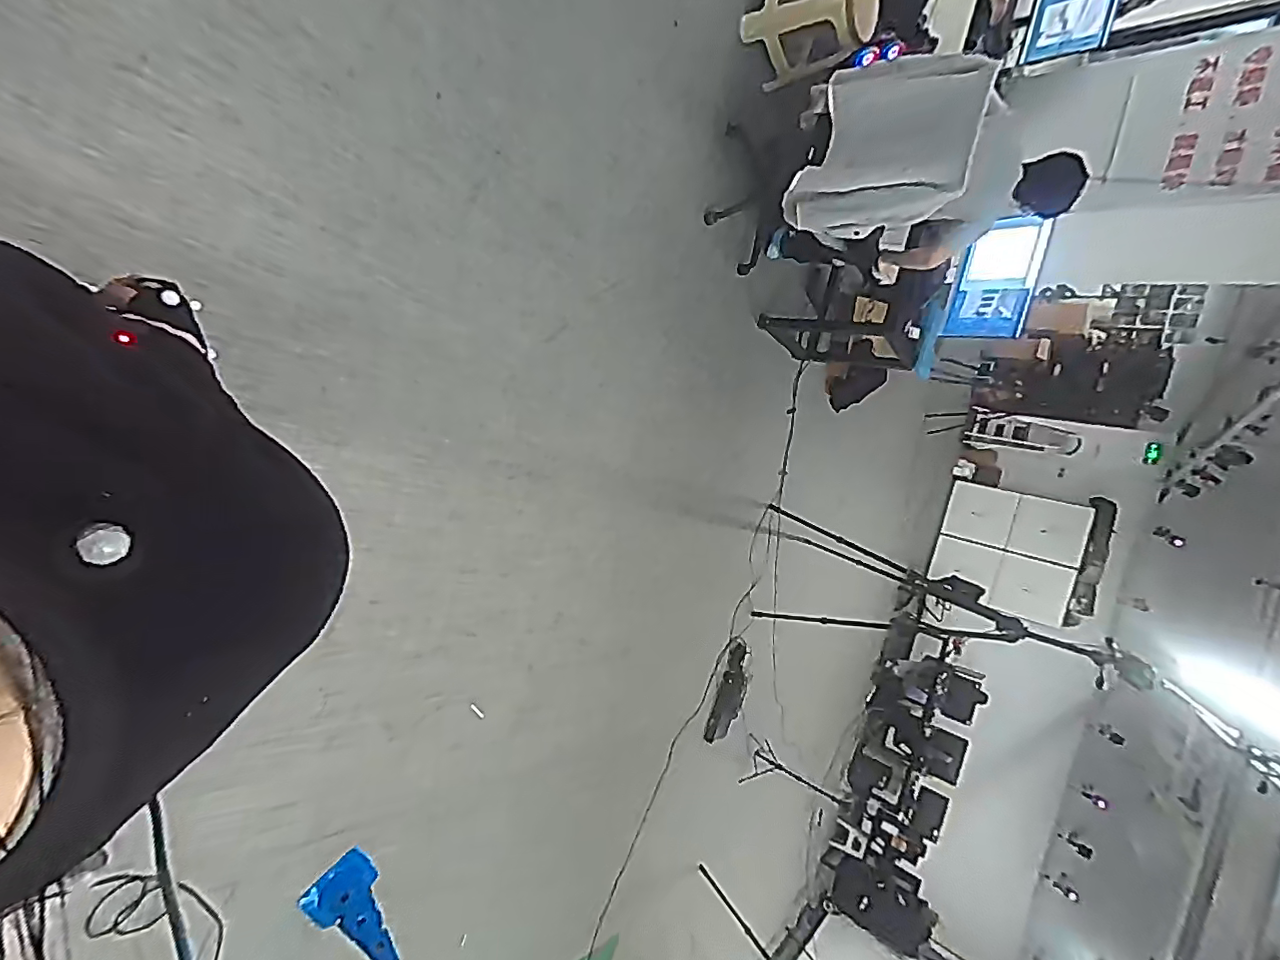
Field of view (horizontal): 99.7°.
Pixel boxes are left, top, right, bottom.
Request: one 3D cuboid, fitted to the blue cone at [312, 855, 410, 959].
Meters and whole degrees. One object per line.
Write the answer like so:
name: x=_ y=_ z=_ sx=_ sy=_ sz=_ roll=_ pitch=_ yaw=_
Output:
blue cone: x=-0.822 y=1.373 z=1.667 sx=0.193 sy=0.380 sz=0.192 roll=-41 pitch=131 yaw=-38
